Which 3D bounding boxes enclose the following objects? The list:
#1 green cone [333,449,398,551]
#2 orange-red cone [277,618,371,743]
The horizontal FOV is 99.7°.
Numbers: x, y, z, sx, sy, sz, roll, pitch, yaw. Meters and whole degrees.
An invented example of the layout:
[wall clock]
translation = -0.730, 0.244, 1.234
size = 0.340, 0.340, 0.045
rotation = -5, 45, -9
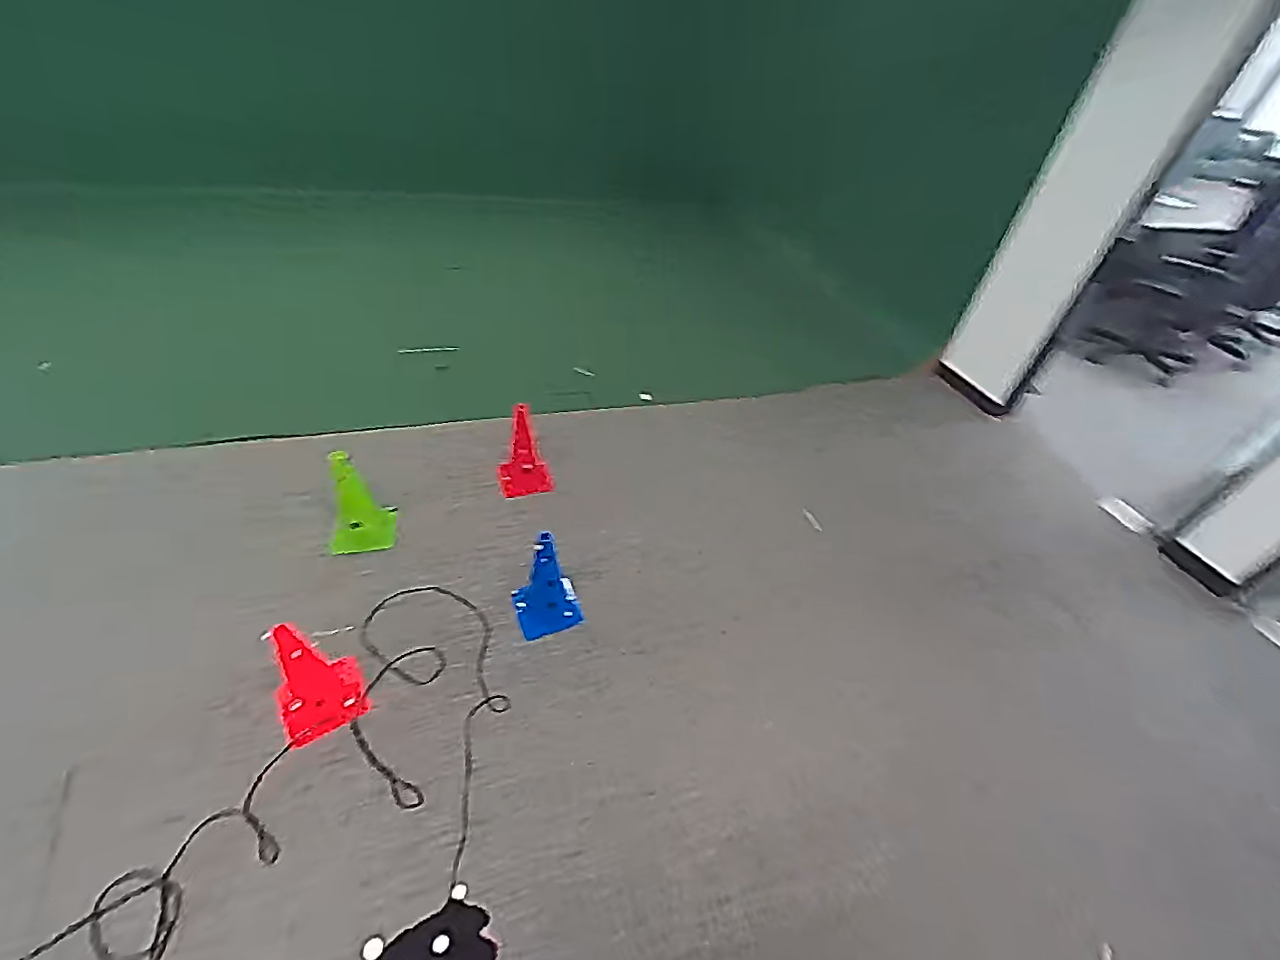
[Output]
[green cone]
translation = -0.958, 0.043, 1.809
size = 0.200, 0.368, 0.202
rotation = -6, 45, -14
[orange-red cone]
translation = -0.843, 0.467, 1.370
size = 0.198, 0.360, 0.199
rotation = -21, 48, -29
